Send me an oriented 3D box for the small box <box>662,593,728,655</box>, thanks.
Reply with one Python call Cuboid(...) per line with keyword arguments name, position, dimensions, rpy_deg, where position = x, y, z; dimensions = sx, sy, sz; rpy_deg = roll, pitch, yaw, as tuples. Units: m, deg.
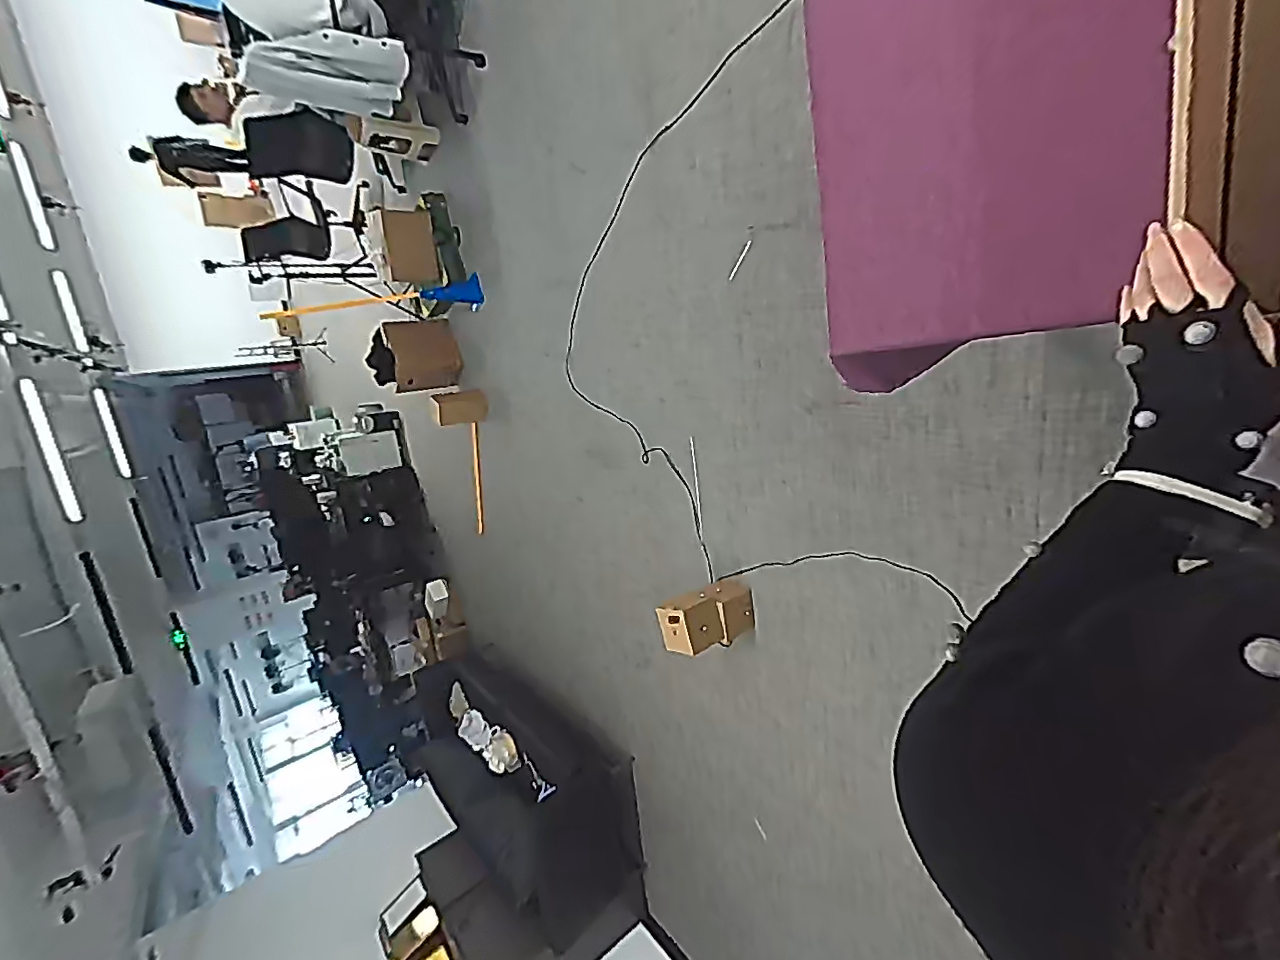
Cuboid(name="small box", position=(0.215, 0.551, 2.094), dimensions=(0.168, 0.176, 0.179), rpy_deg=(-11, 95, 55))
